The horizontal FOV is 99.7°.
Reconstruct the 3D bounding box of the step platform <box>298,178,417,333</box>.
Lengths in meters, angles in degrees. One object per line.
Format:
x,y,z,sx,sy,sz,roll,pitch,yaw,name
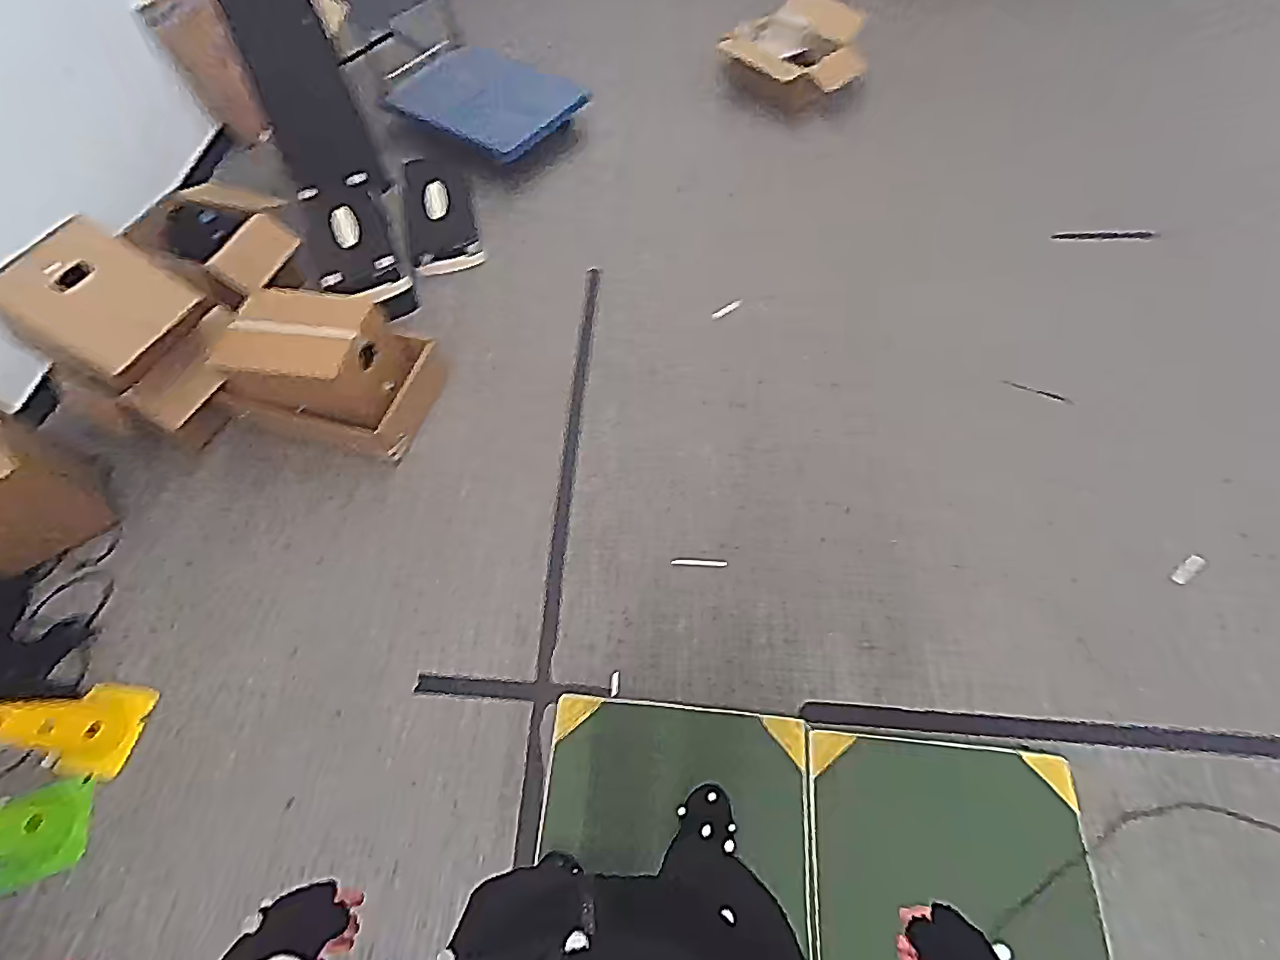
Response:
-1.123,-0.906,2.135,0.286,0.204,0.684,-24,64,-10,step platform
